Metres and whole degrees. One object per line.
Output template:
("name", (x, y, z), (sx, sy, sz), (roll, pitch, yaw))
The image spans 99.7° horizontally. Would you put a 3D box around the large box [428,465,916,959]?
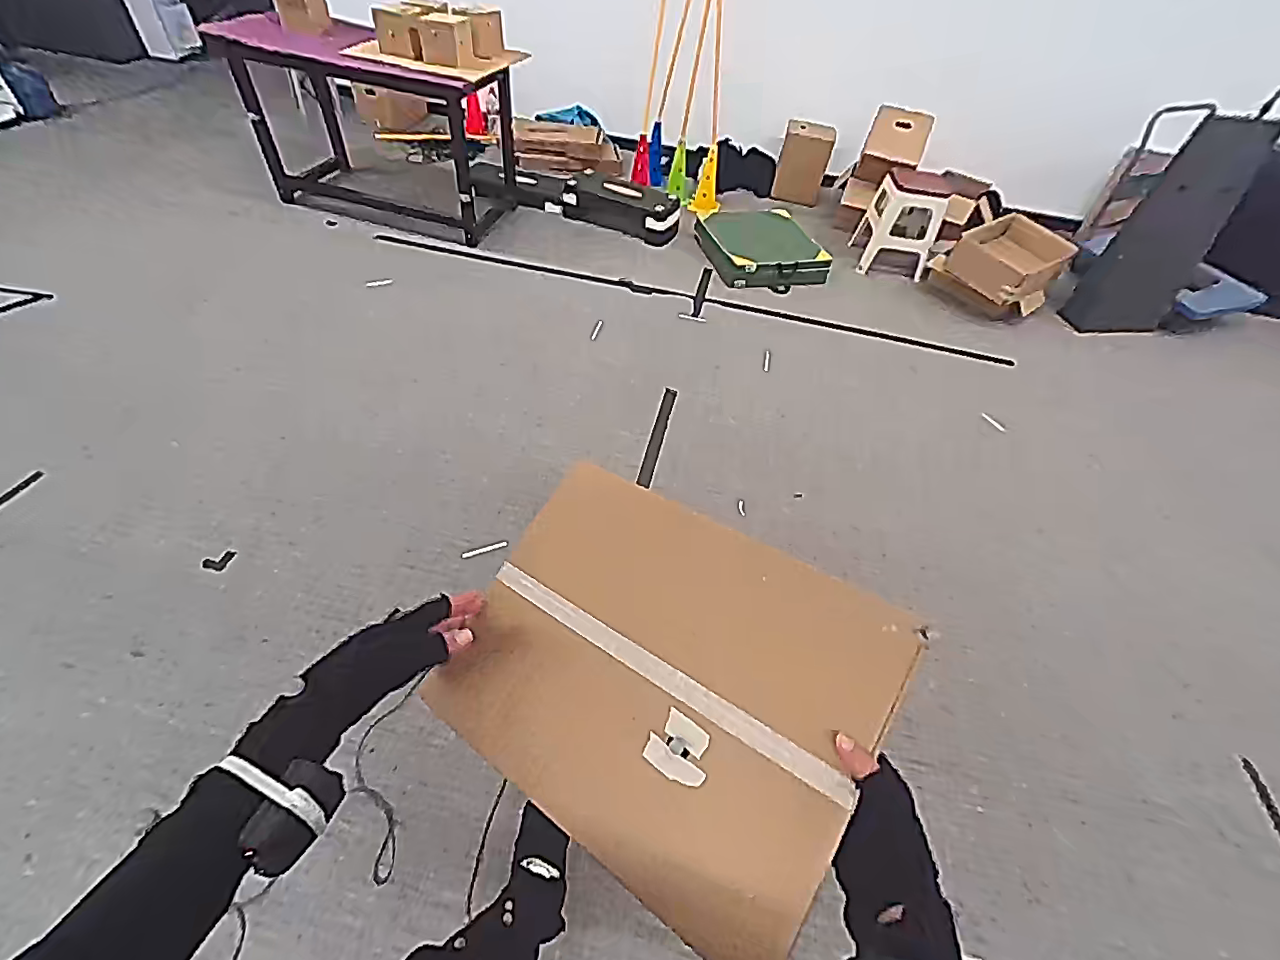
("large box", (0.048, 0.239, 0.657), (0.408, 0.320, 0.320), (24, 74, 27))
